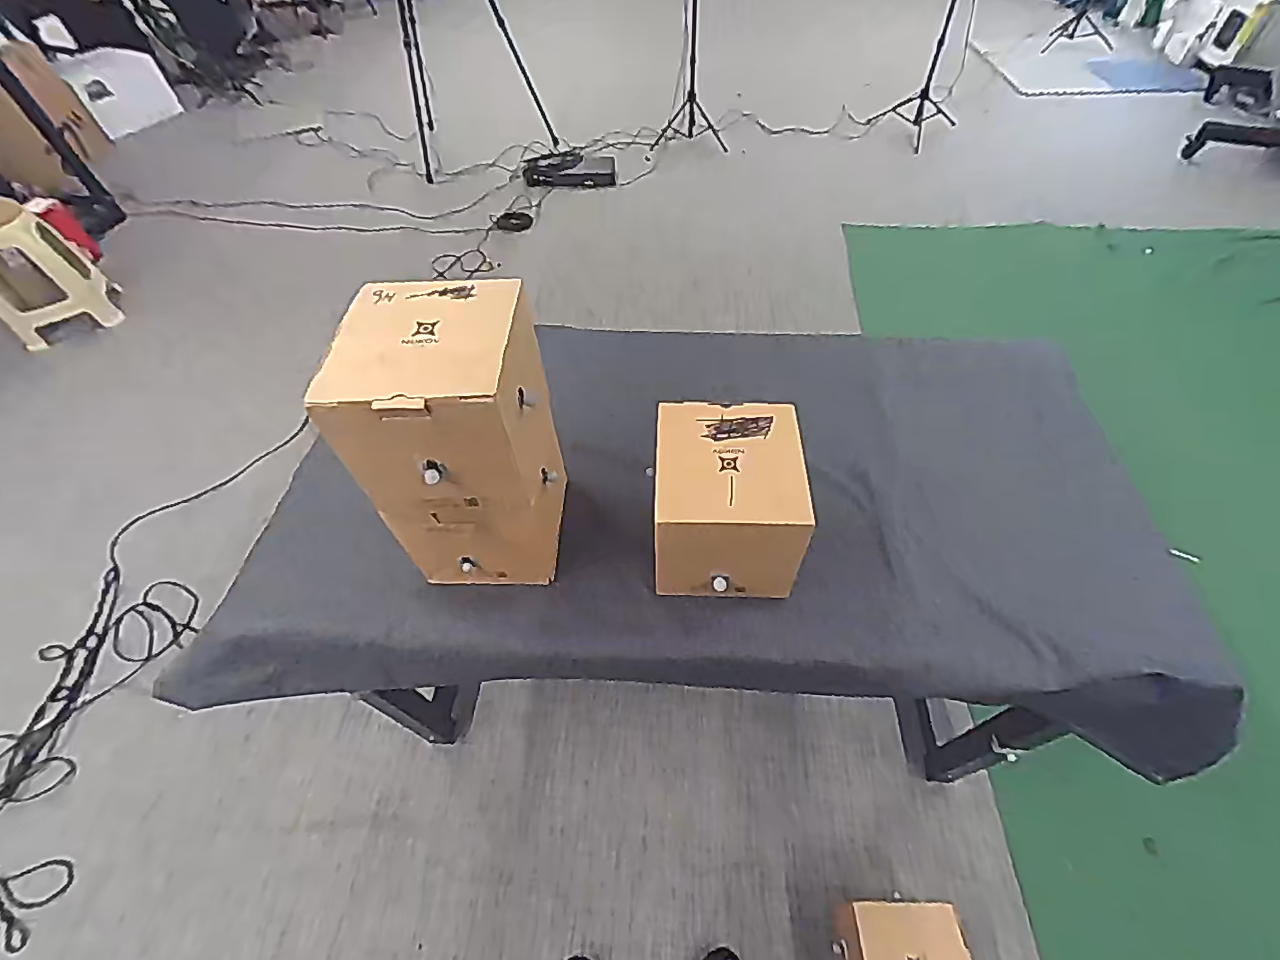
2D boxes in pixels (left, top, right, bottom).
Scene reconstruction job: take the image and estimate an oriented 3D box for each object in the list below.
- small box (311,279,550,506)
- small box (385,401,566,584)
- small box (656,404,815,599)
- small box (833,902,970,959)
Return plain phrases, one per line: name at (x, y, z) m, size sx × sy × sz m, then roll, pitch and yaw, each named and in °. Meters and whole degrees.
small box at (-0.193, -0.083, 0.564) m, size 0.168 × 0.176 × 0.179 m, roll -1°, pitch 53°, yaw 1°
small box at (-0.192, 0.015, 0.695) m, size 0.168 × 0.176 × 0.179 m, roll 0°, pitch 52°, yaw 2°
small box at (0.105, 0.027, 0.668) m, size 0.168 × 0.176 × 0.179 m, roll 1°, pitch 52°, yaw 4°
small box at (0.456, 0.842, 0.940) m, size 0.179 × 0.176 × 0.168 m, roll -1°, pitch 51°, yaw 3°
